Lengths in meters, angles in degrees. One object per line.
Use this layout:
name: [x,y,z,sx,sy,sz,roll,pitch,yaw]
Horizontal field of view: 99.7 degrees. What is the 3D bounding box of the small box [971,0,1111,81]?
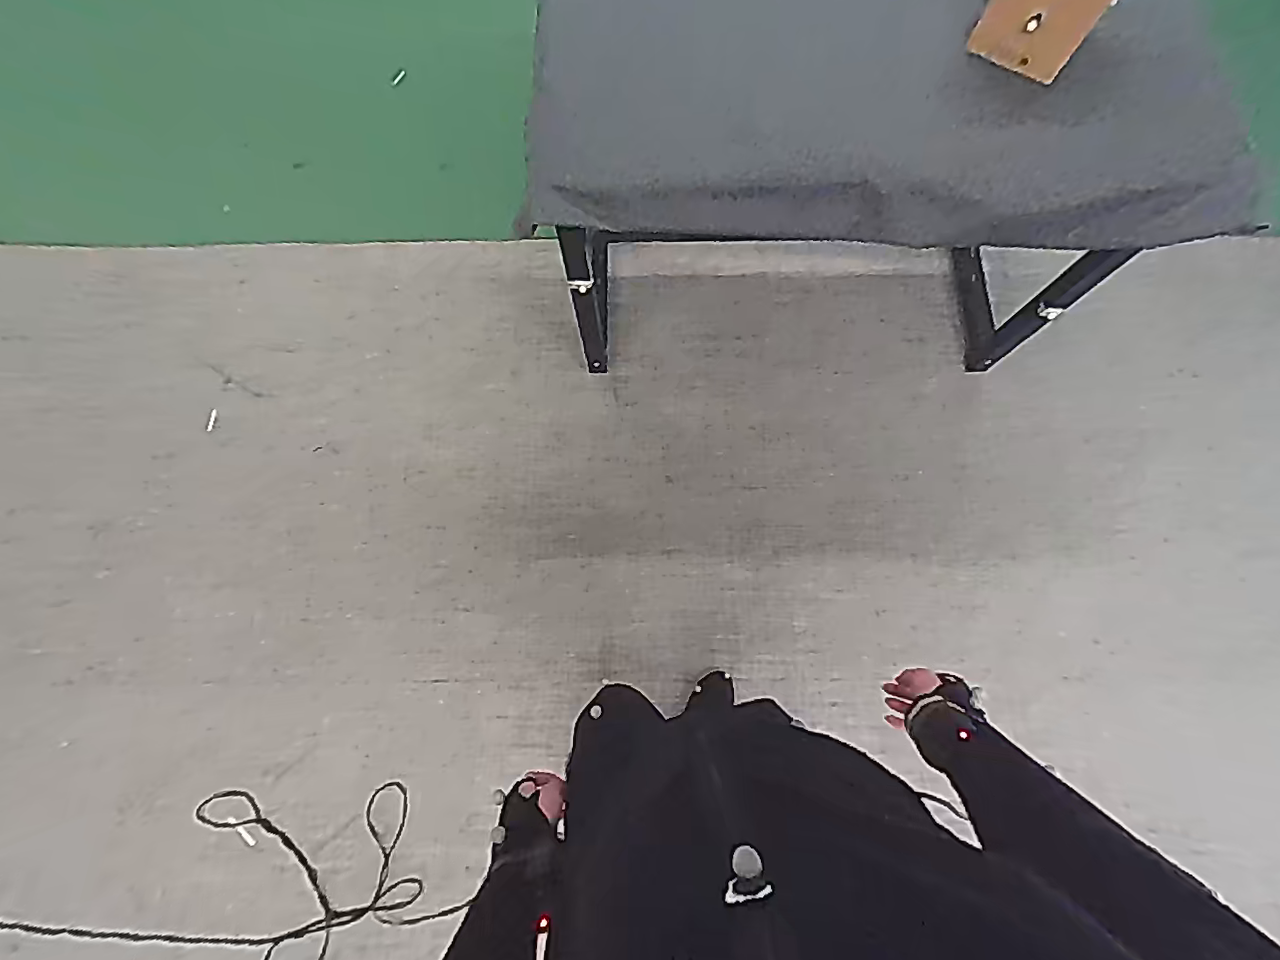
small box: [0.700,-0.828,0.908,0.168,0.176,0.179,32,78,8]
